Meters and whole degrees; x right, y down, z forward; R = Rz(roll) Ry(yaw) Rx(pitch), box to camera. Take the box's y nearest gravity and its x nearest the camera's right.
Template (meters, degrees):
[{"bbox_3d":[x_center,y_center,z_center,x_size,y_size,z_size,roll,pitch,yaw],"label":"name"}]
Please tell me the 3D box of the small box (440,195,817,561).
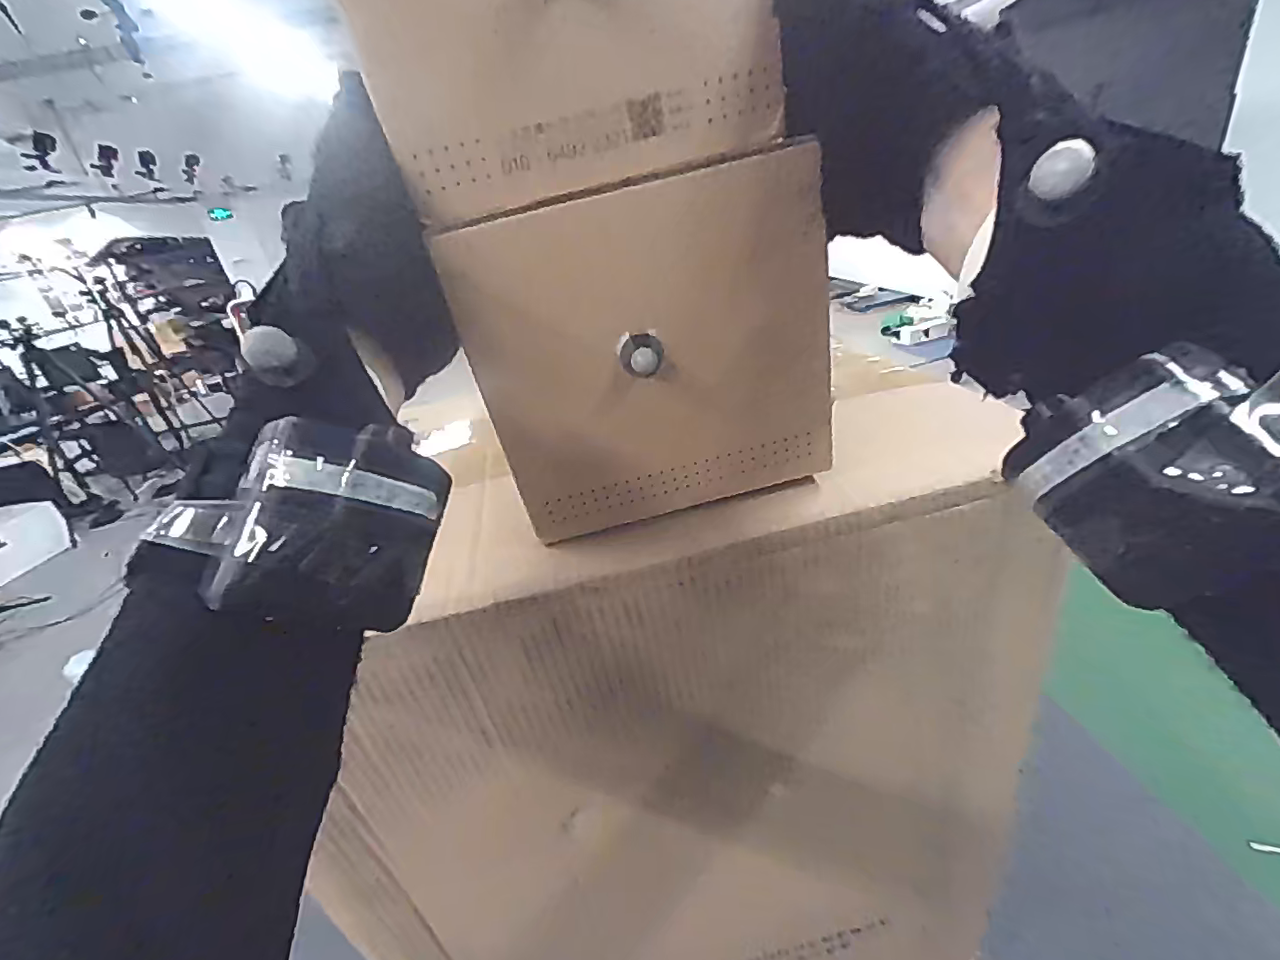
[{"bbox_3d":[0.001,-0.074,0.350,0.179,0.176,0.168,-15,30,0],"label":"small box"}]
